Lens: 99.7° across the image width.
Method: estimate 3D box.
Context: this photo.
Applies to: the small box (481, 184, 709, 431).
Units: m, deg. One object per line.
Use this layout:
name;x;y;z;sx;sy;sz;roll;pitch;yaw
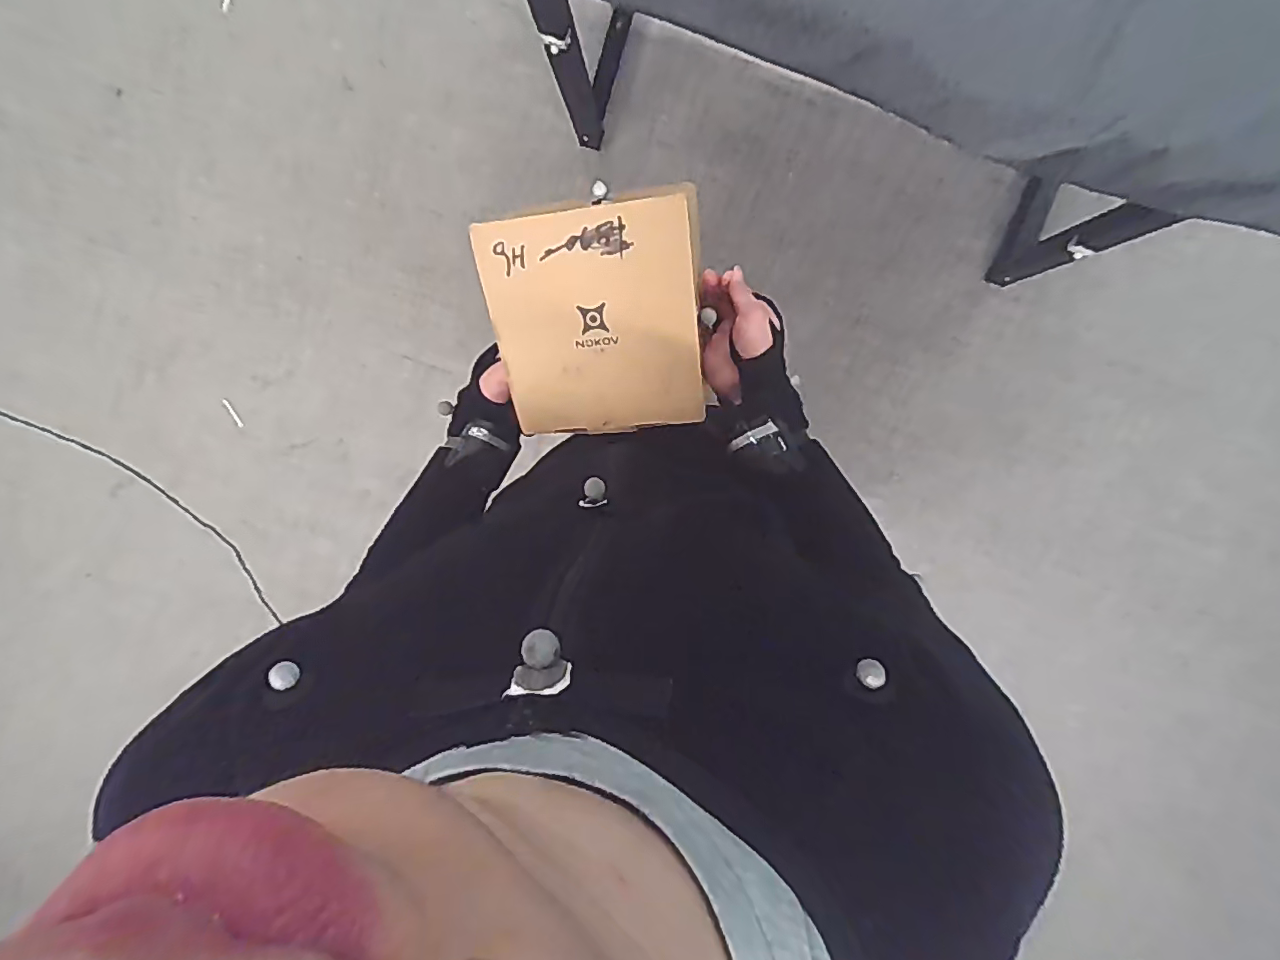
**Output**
small box;-0.022;-0.165;0.509;0.168;0.176;0.179;-4;122;9
